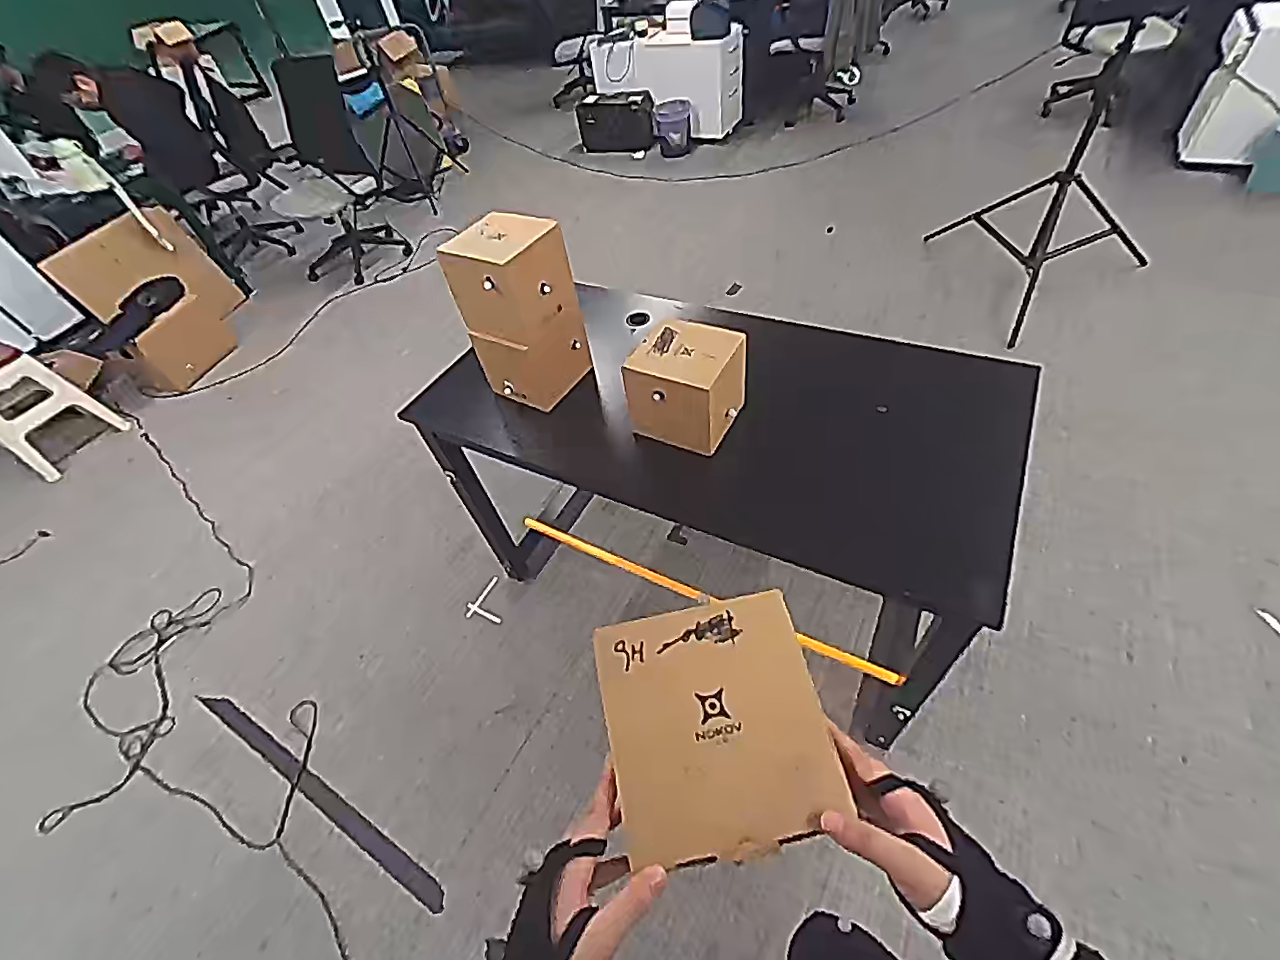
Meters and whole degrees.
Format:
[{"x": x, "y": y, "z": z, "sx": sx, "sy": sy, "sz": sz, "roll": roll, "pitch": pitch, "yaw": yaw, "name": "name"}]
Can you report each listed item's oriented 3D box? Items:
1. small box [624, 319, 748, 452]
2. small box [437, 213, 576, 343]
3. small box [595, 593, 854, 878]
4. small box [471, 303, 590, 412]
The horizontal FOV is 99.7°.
[{"x": 0.092, "y": -0.177, "z": 1.030, "sx": 0.179, "sy": 0.176, "sz": 0.168, "roll": 20, "pitch": 56, "yaw": 23, "name": "small box"}, {"x": -0.248, "y": -0.391, "z": 1.053, "sx": 0.179, "sy": 0.176, "sz": 0.168, "roll": 21, "pitch": 56, "yaw": 26, "name": "small box"}, {"x": 0.062, "y": 0.221, "z": 0.487, "sx": 0.168, "sy": 0.176, "sz": 0.179, "roll": -12, "pitch": 63, "yaw": -3, "name": "small box"}, {"x": -0.225, "y": -0.279, "z": 1.172, "sx": 0.168, "sy": 0.176, "sz": 0.179, "roll": 21, "pitch": 57, "yaw": 26, "name": "small box"}]
